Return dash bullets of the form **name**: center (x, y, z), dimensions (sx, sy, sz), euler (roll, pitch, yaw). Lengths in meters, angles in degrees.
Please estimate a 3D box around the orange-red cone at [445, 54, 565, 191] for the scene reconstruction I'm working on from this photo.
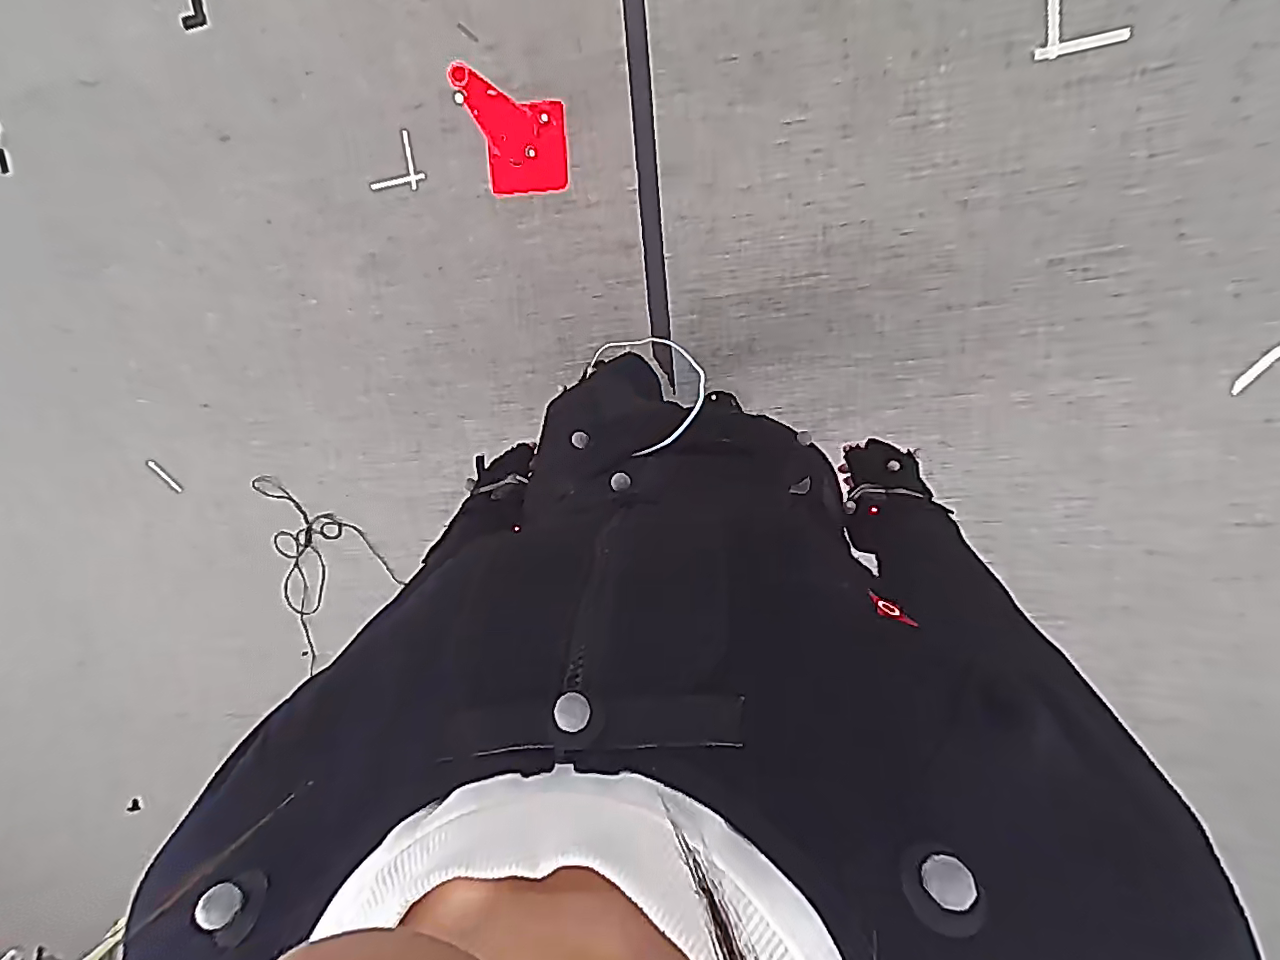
- **orange-red cone**: center (-0.306, -0.776, 1.140), dimensions (0.199, 0.360, 0.198), euler (1, 101, 10)
